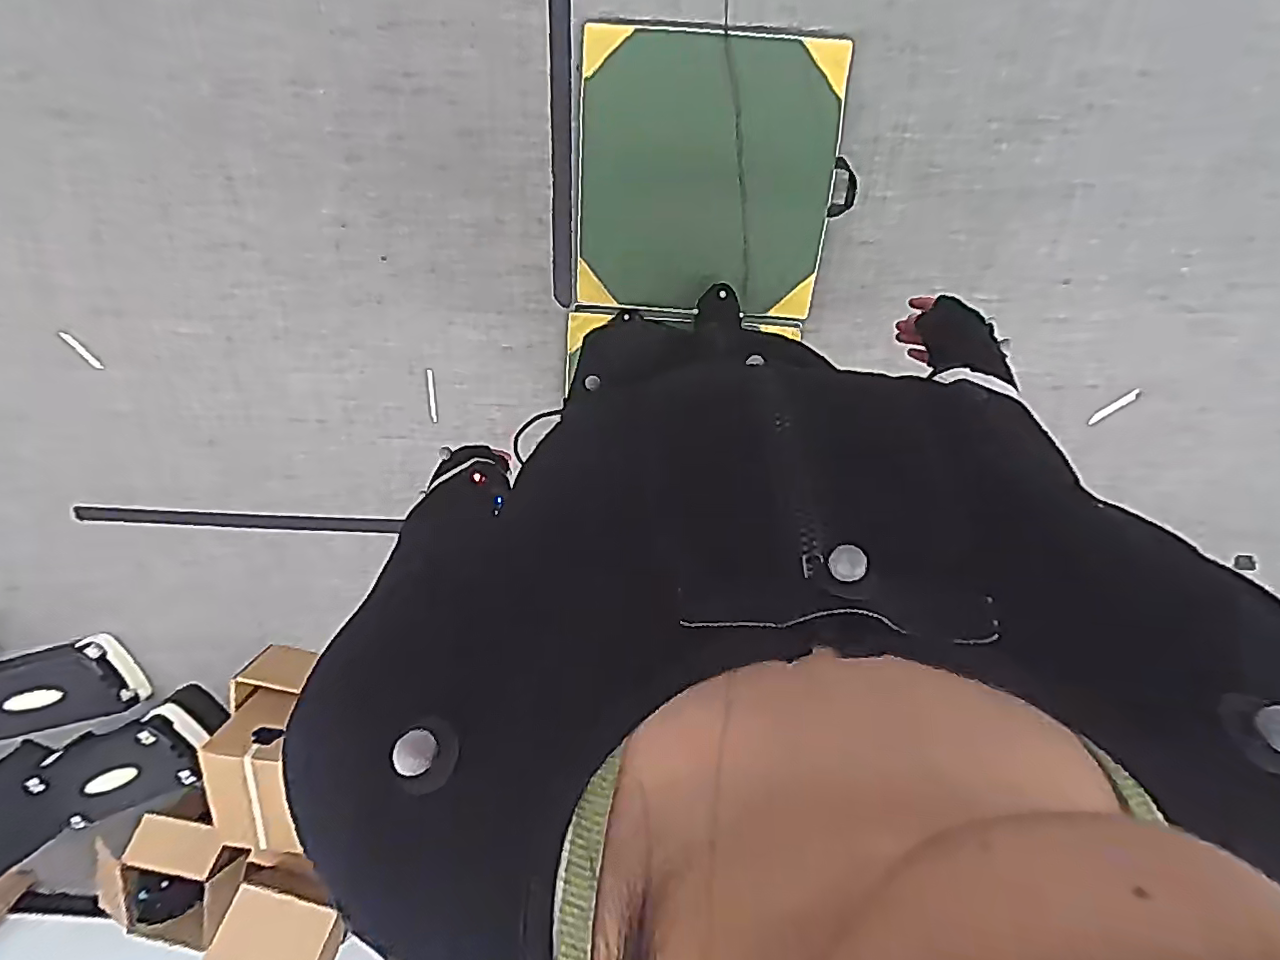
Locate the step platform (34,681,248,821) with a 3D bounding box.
[{"bbox_3d":[-1.833,1.001,1.988,0.684,0.204,0.286,-25,108,11],"label":"step platform"}]
